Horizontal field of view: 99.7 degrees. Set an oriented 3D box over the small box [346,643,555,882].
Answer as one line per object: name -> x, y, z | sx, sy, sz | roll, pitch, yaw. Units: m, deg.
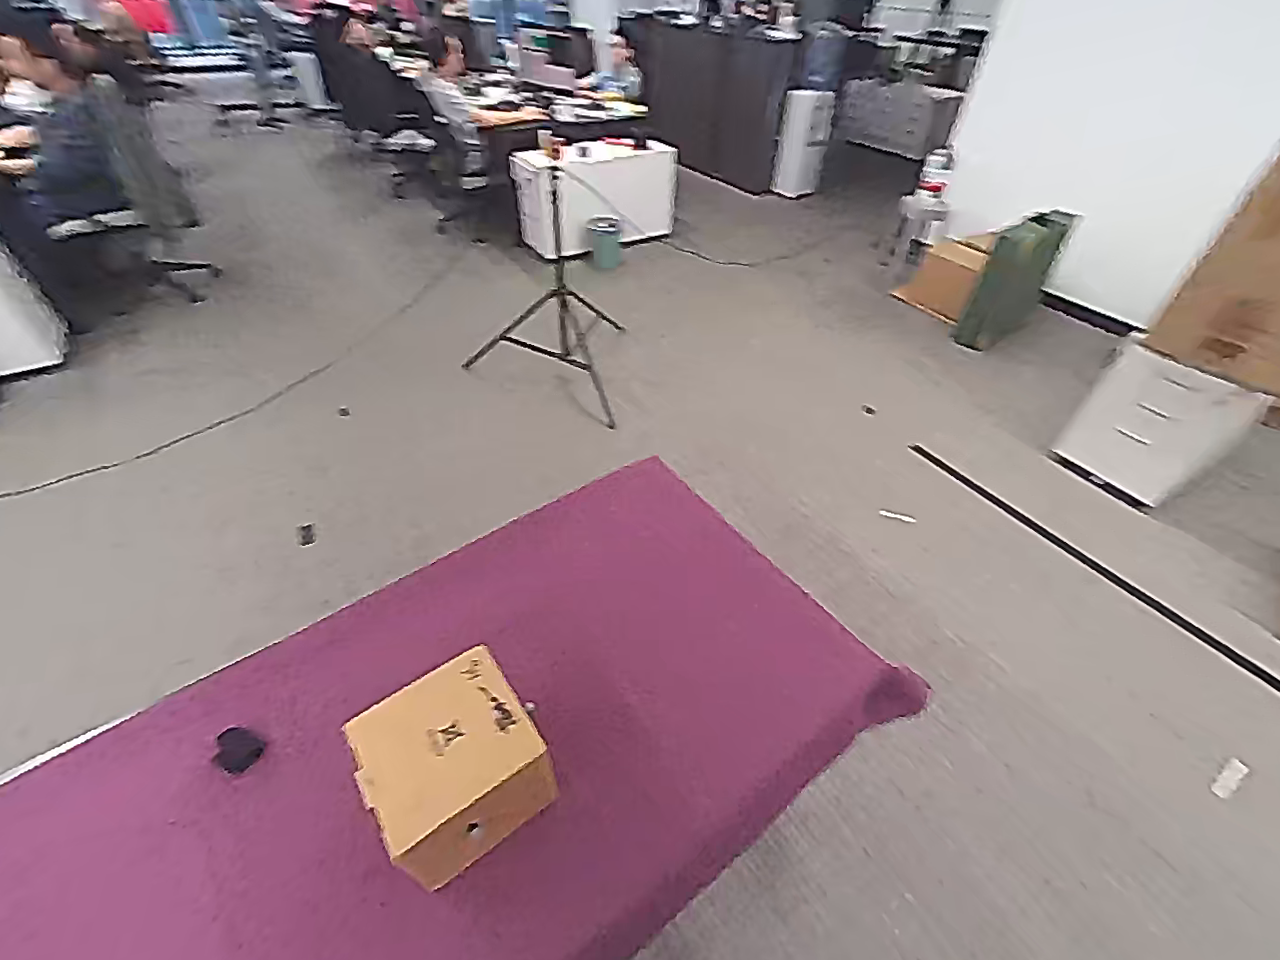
small box -> -0.222, 0.347, 0.666 | 0.179, 0.176, 0.168 | -28, 51, -27
